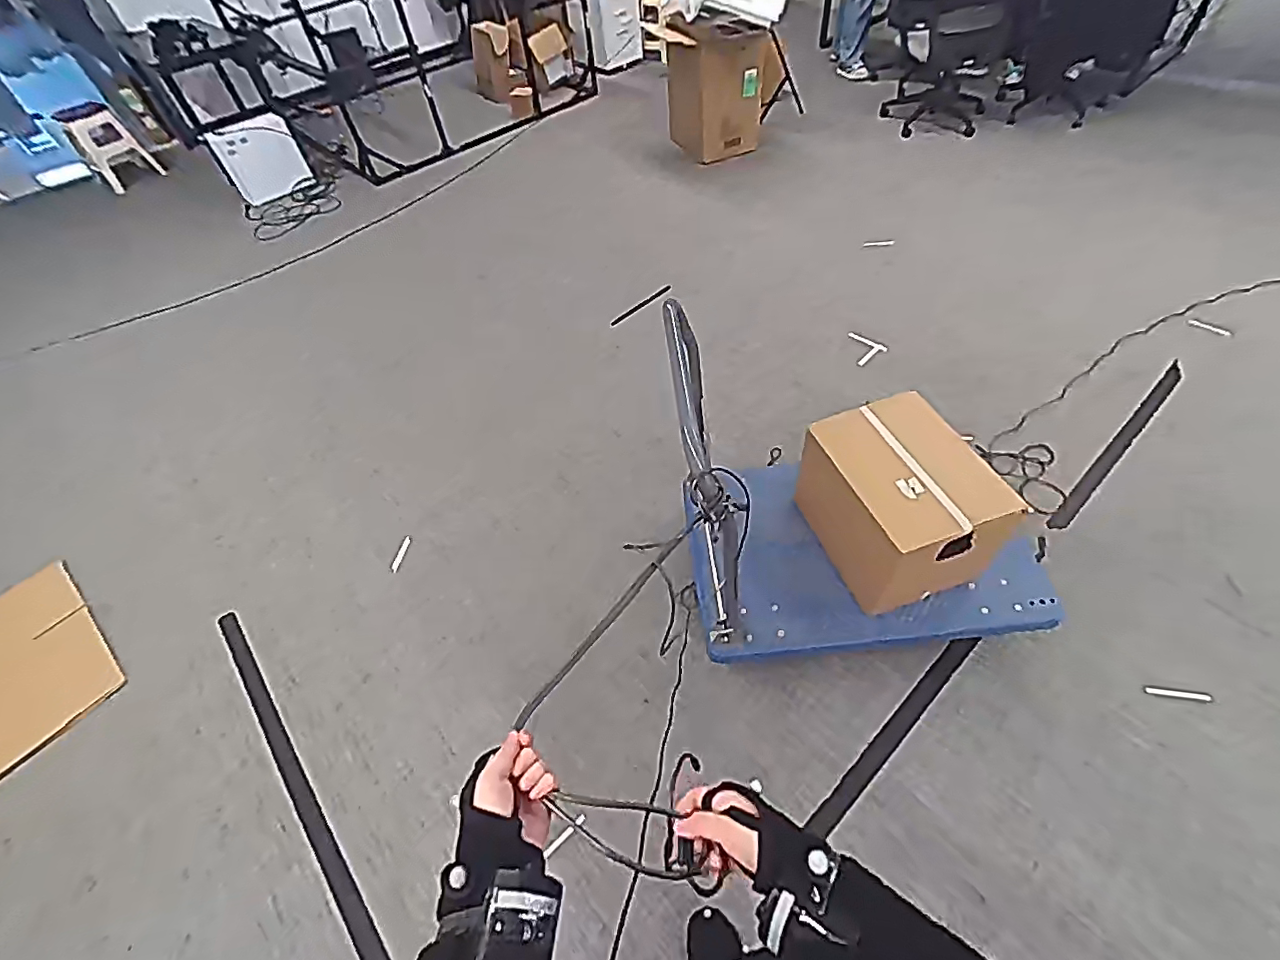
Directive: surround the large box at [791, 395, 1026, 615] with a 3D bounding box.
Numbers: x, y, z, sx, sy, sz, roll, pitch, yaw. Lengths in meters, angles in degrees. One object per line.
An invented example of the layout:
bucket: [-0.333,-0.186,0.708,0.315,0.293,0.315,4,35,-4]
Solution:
large box: [0.629,0.059,1.365,0.320,0.320,0.408,-18,52,-7]
